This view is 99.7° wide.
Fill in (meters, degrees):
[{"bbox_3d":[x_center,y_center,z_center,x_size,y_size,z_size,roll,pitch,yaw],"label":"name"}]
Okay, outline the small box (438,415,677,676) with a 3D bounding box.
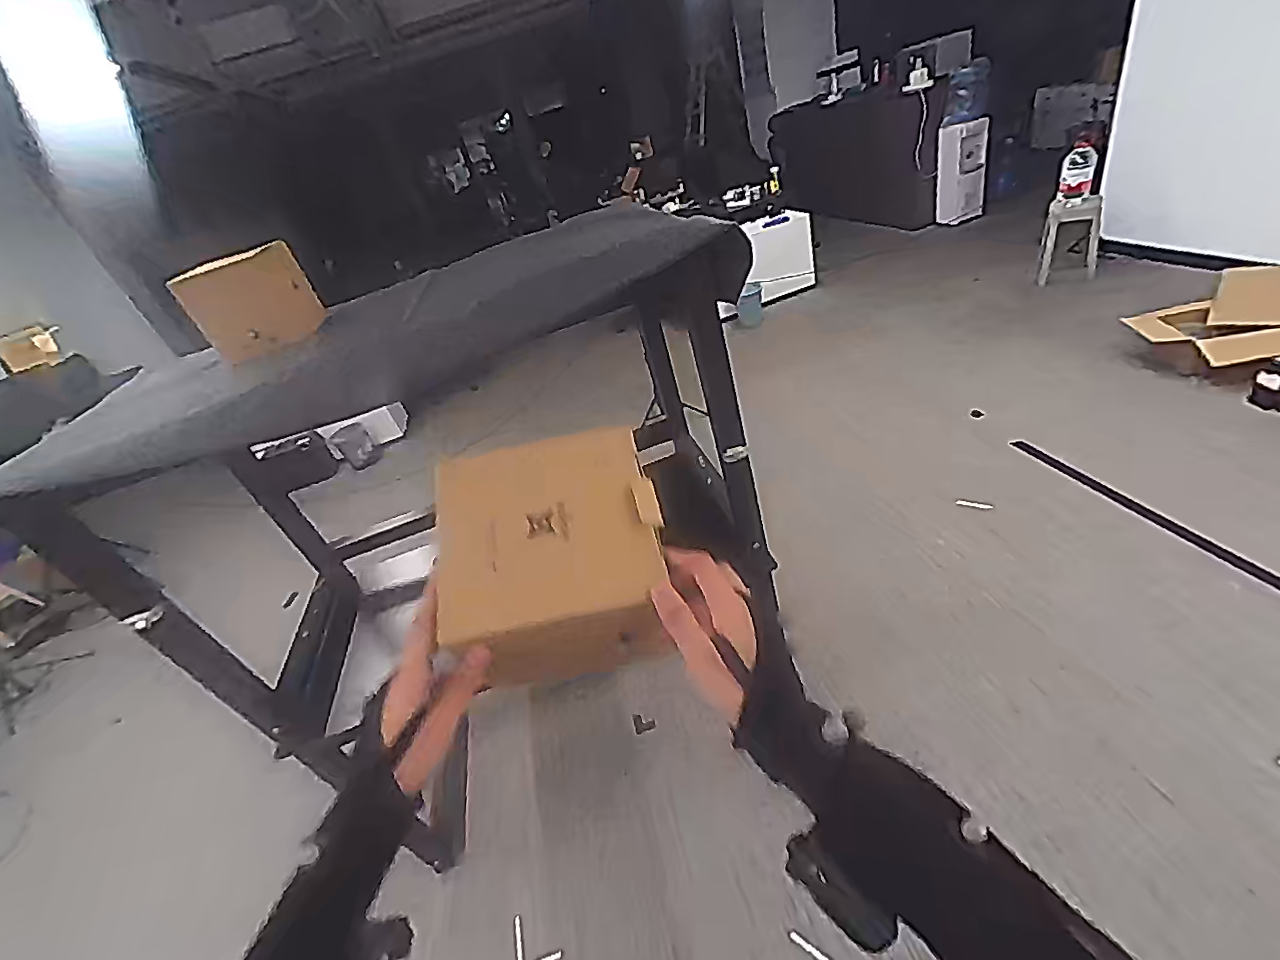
[{"bbox_3d":[-0.072,0.066,0.500,0.179,0.176,0.168,-11,58,-5],"label":"small box"}]
